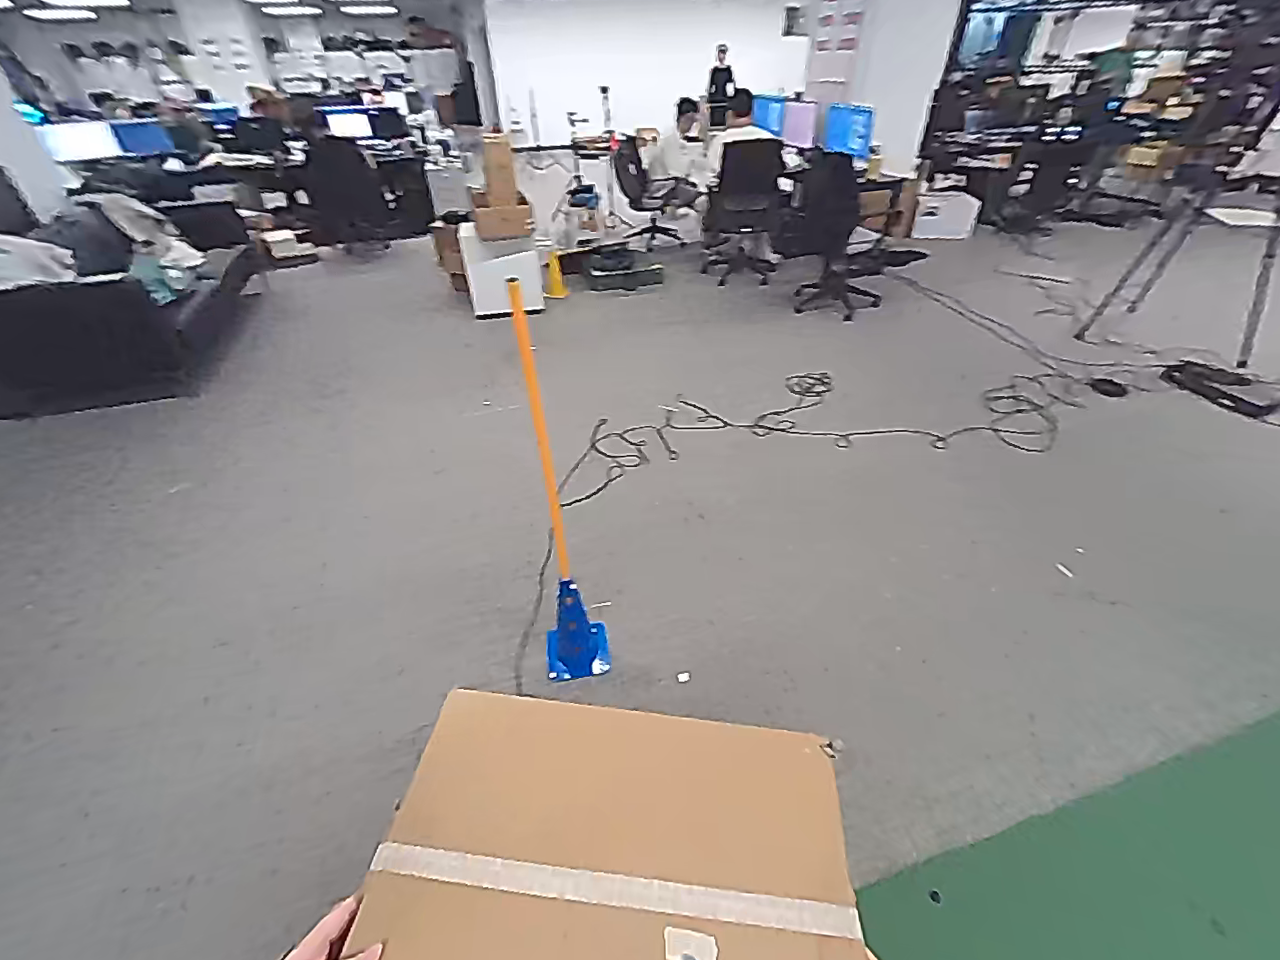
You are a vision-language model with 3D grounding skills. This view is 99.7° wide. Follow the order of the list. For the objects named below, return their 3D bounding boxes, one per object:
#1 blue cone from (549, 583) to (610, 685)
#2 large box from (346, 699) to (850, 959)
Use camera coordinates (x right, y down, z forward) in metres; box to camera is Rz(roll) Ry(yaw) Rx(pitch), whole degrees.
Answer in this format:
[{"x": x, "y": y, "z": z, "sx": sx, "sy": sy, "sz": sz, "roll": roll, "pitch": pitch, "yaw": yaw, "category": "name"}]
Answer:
[{"x": -0.205, "y": 0.448, "z": 1.673, "sx": 0.193, "sy": 0.380, "sz": 0.192, "roll": -6, "pitch": 38, "yaw": -6, "category": "blue cone"}, {"x": -0.035, "y": 0.464, "z": 0.554, "sx": 0.408, "sy": 0.320, "sz": 0.320, "roll": 6, "pitch": 40, "yaw": 2, "category": "large box"}]
